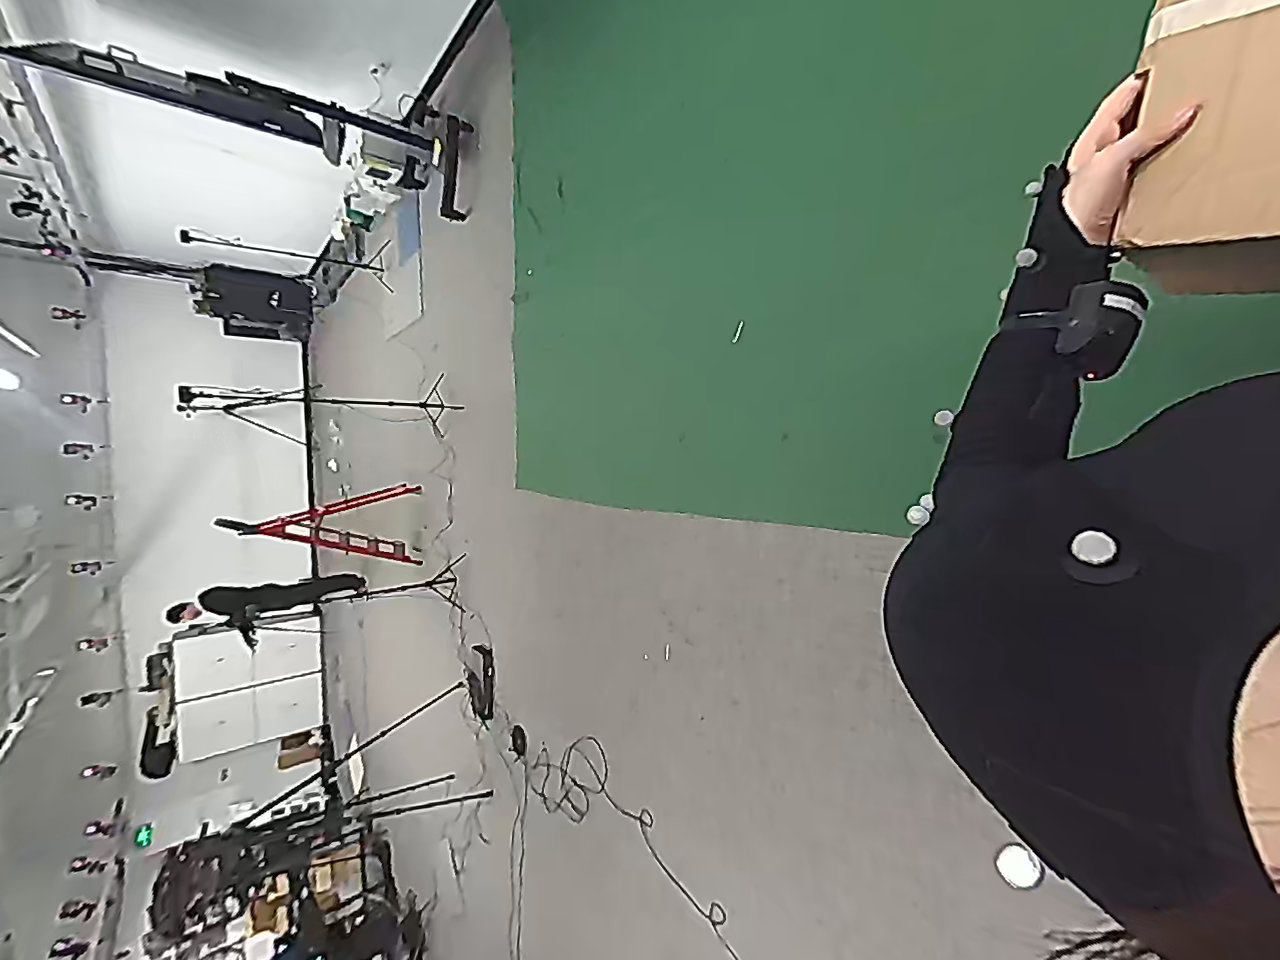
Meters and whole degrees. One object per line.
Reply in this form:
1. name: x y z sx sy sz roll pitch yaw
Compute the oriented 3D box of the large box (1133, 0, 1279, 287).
1. large box: 0.635 -0.321 0.352 0.408 0.320 0.320 16 108 46
